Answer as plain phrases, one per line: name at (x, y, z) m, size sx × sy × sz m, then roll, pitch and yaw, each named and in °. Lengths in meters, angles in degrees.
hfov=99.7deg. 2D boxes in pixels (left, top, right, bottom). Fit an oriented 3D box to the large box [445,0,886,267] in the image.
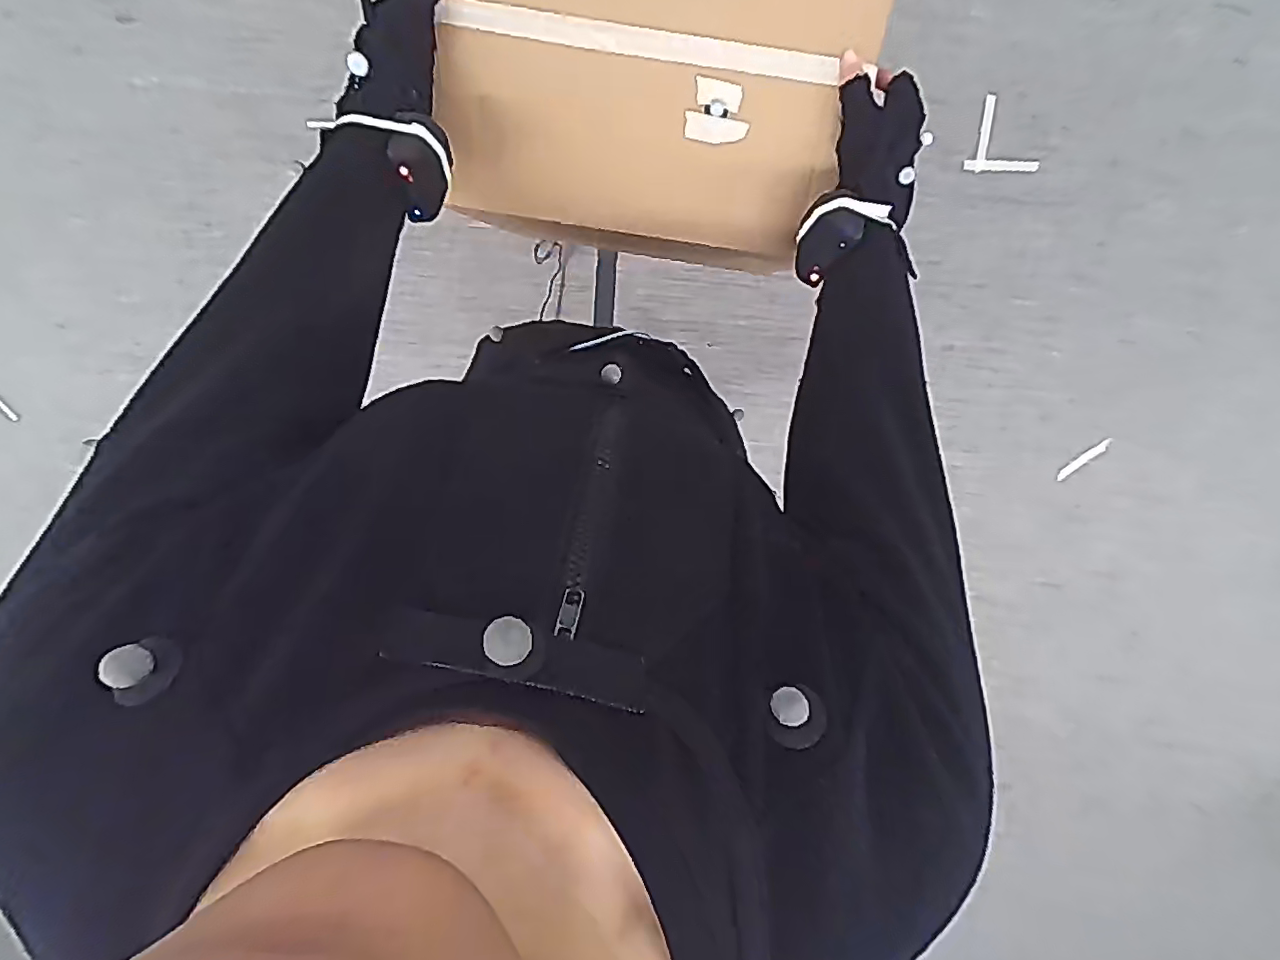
large box at (0.017, -0.448, 0.644) m, size 0.408 × 0.320 × 0.320 m, roll 8°, pitch 110°, yaw -3°
